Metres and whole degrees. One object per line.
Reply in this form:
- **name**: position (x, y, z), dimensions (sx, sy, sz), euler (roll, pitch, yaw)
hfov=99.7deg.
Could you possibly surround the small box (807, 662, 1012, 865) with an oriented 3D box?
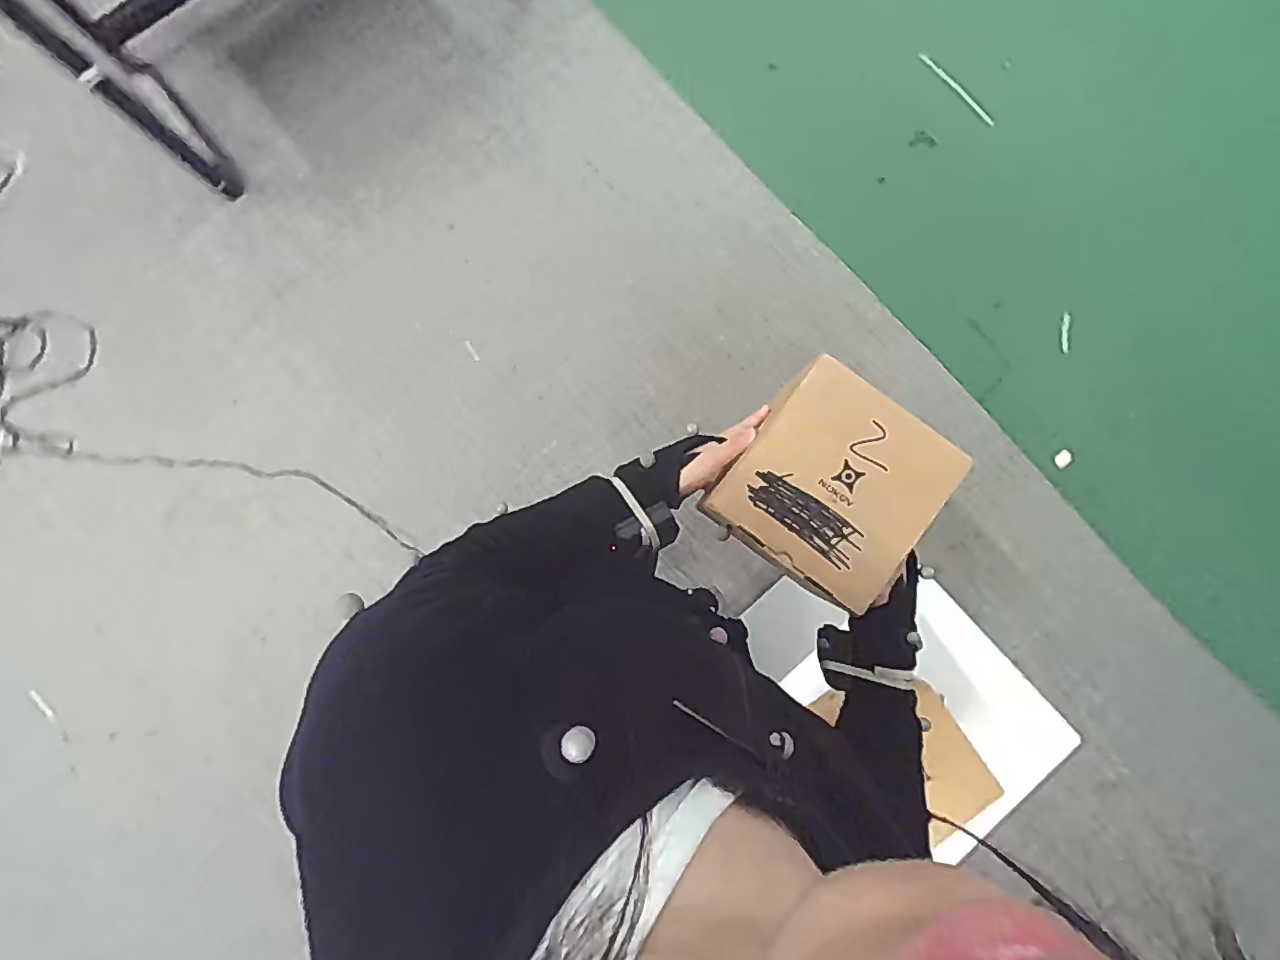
- **small box**: position (0.380, 0.398, 0.797), dimensions (0.168, 0.176, 0.179), euler (-35, 85, -3)
